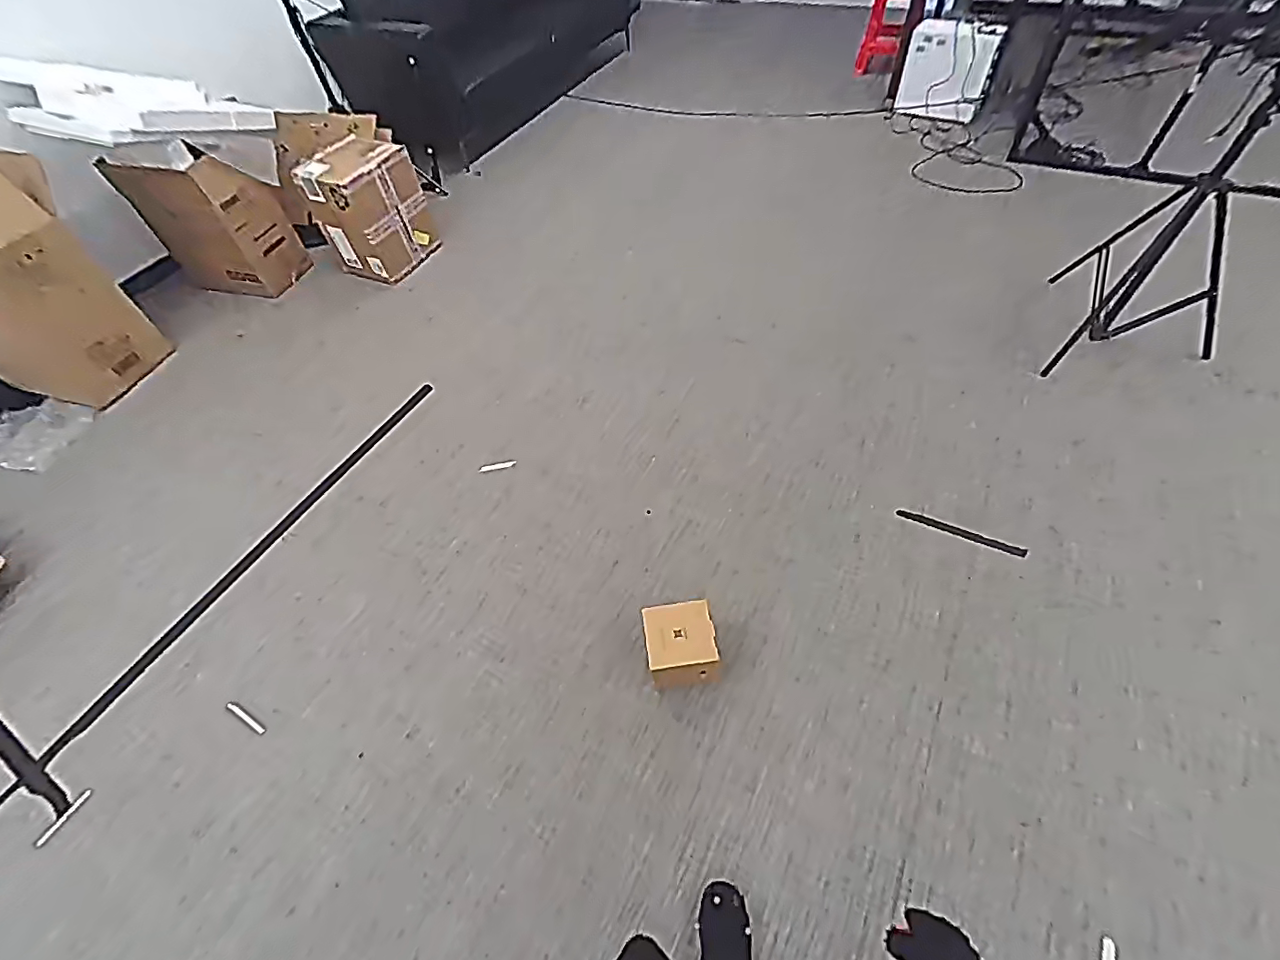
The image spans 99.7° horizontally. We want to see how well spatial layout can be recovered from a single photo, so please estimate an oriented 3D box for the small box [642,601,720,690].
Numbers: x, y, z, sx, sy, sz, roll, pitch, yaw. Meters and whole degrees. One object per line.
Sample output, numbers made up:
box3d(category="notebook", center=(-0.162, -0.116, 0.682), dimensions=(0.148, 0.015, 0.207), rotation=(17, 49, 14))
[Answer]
box3d(category="small box", center=(0.106, 0.439, 1.427), dimensions=(0.179, 0.176, 0.168), rotation=(-9, 52, 0))
